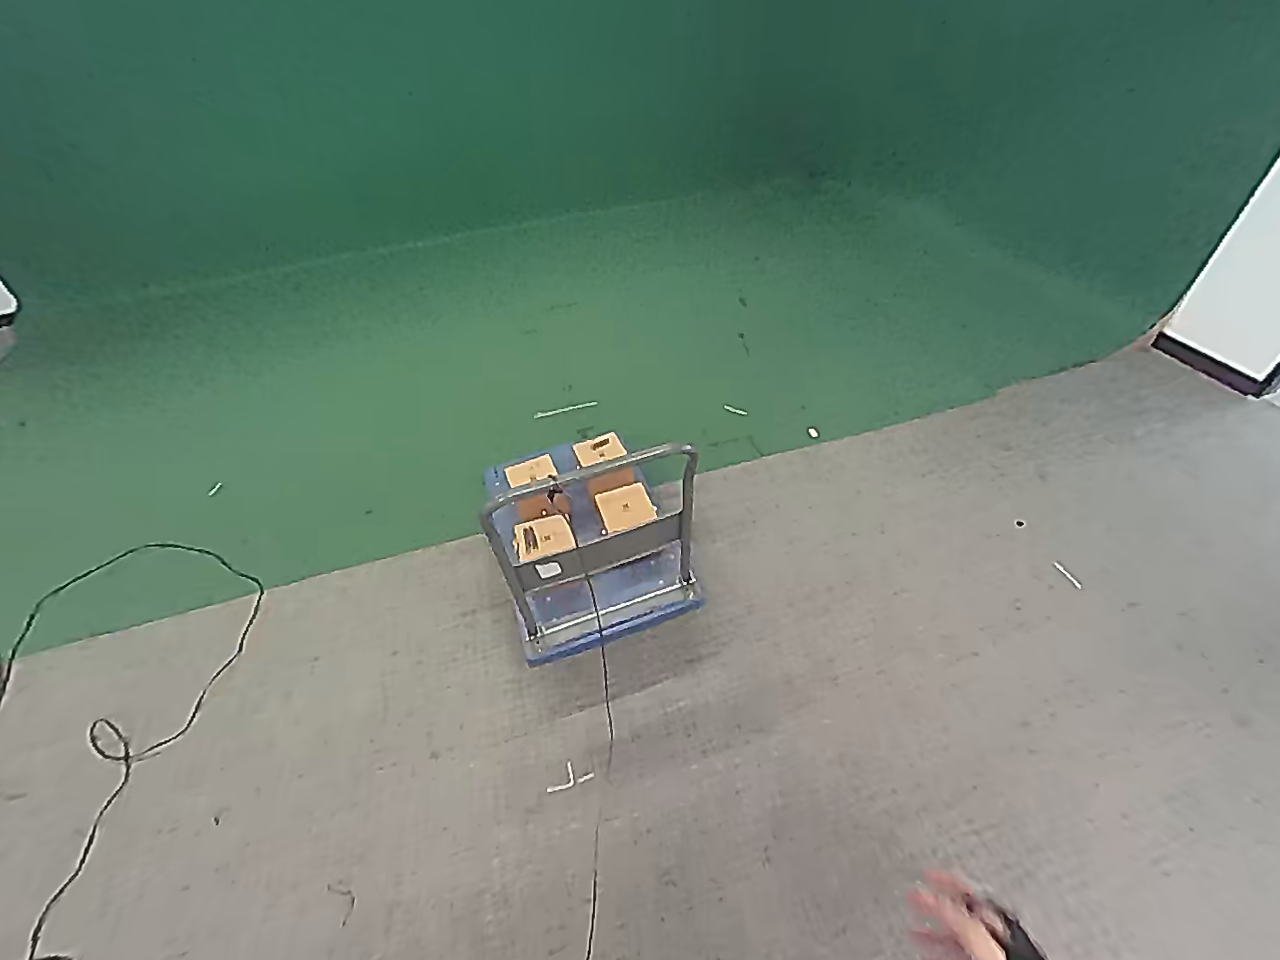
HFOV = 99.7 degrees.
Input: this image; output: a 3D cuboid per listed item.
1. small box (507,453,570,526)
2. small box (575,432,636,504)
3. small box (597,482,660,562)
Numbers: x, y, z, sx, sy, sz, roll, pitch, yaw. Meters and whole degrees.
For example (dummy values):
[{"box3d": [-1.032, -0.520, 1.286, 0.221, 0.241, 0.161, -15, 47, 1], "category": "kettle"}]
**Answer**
[{"box3d": [-0.355, 0.041, 1.909, 0.168, 0.176, 0.179, -19, 48, -13], "category": "small box"}, {"box3d": [-0.124, -0.042, 1.966, 0.168, 0.176, 0.179, -20, 49, -12], "category": "small box"}, {"box3d": [-0.037, 0.139, 1.786, 0.168, 0.176, 0.179, -16, 48, -10], "category": "small box"}]
